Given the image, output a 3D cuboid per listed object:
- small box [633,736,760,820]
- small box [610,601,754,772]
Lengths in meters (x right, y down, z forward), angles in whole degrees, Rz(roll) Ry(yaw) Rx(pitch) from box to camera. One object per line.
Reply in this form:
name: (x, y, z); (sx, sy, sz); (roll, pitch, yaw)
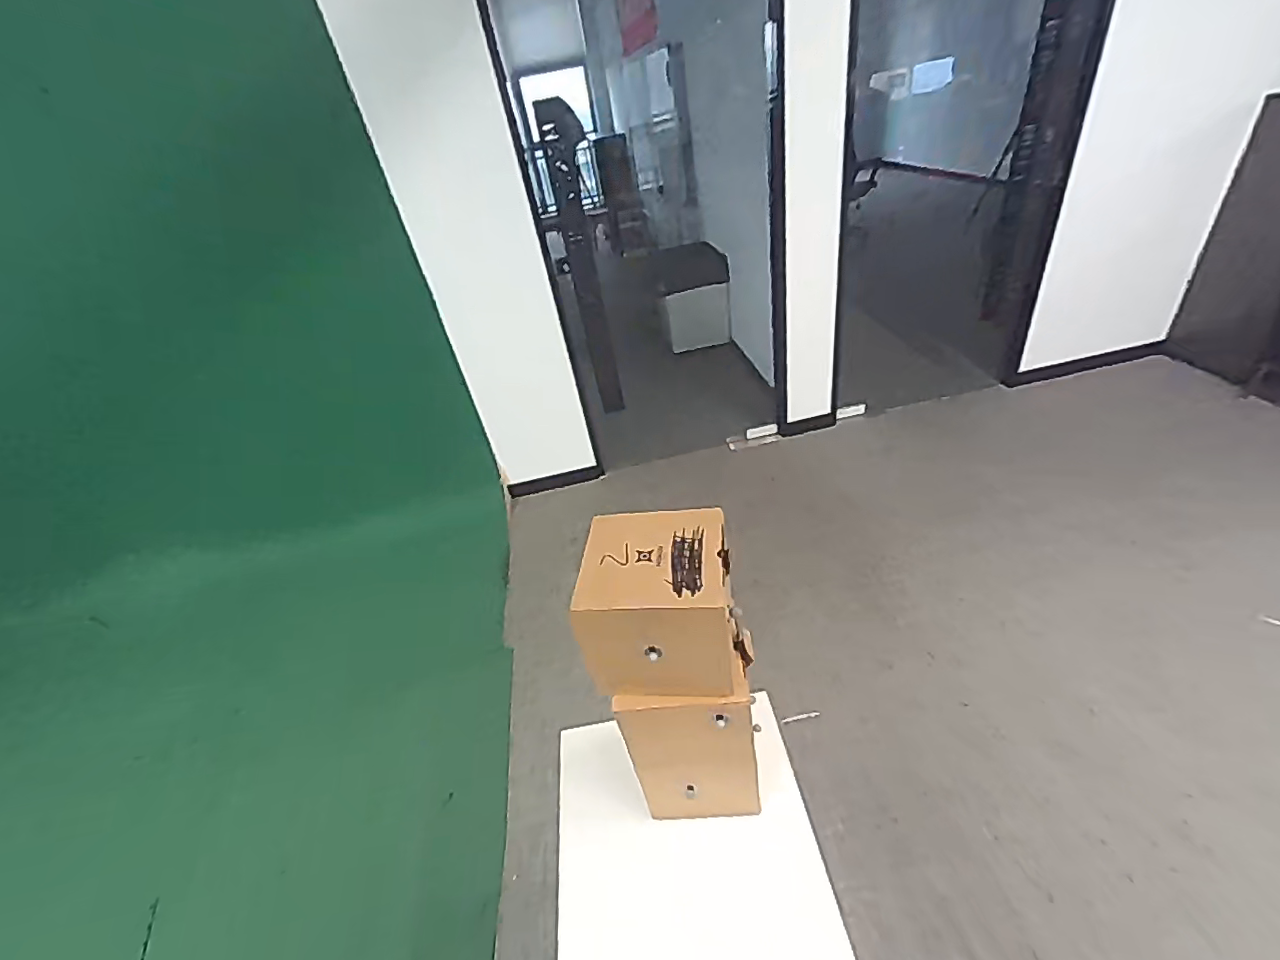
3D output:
small box: (0.092, 0.427, 0.876); (0.179, 0.176, 0.168); (-7, 36, 7)
small box: (0.062, 0.299, 0.780); (0.179, 0.176, 0.168); (-7, 36, 6)
